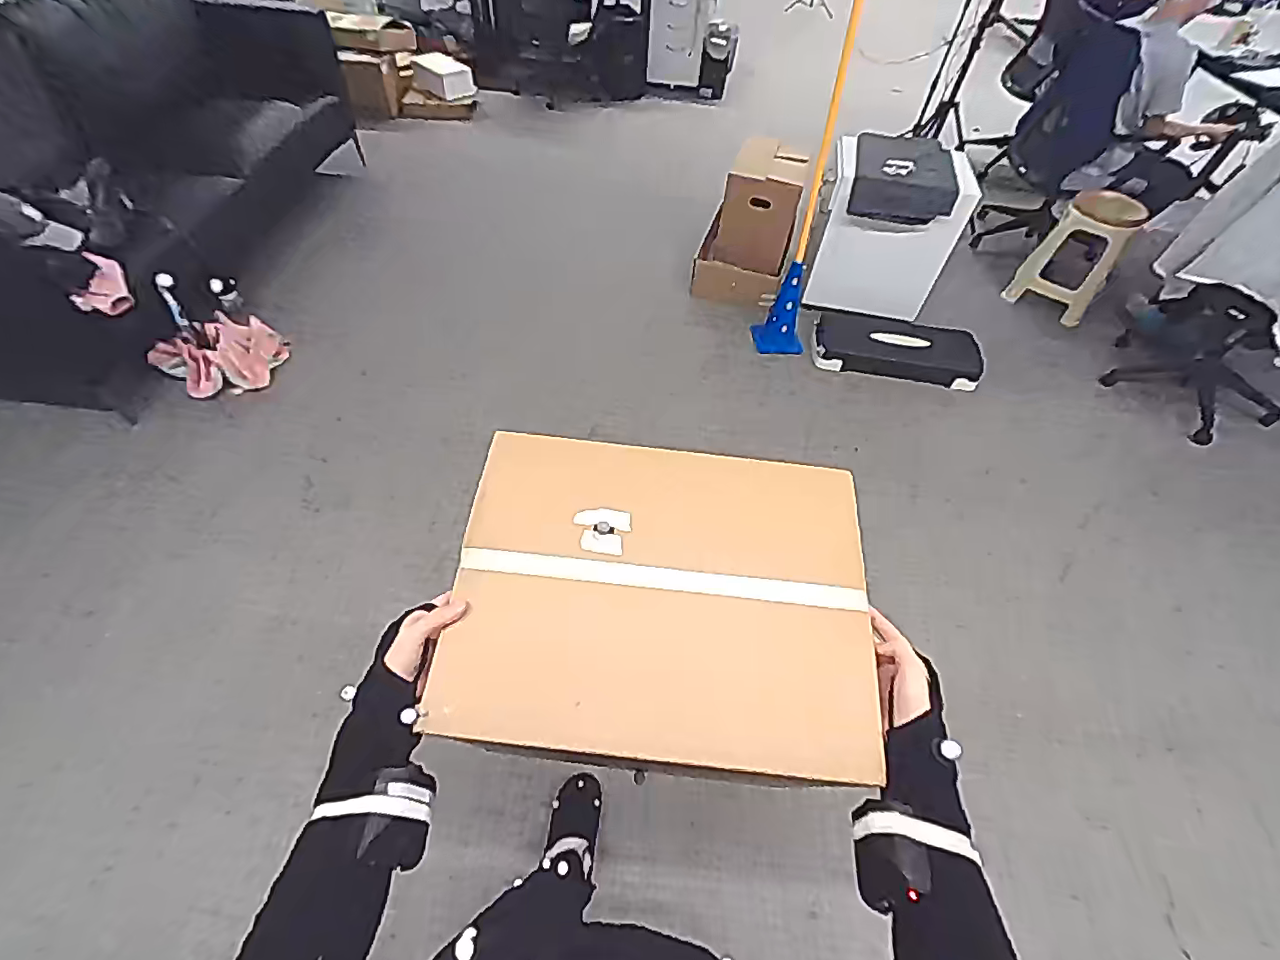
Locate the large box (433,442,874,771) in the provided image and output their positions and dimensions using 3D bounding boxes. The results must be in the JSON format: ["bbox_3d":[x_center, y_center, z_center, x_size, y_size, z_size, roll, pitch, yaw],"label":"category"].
[{"bbox_3d":[0.021,0.177,0.681,0.408,0.320,0.320,6,60,1],"label":"large box"}]
